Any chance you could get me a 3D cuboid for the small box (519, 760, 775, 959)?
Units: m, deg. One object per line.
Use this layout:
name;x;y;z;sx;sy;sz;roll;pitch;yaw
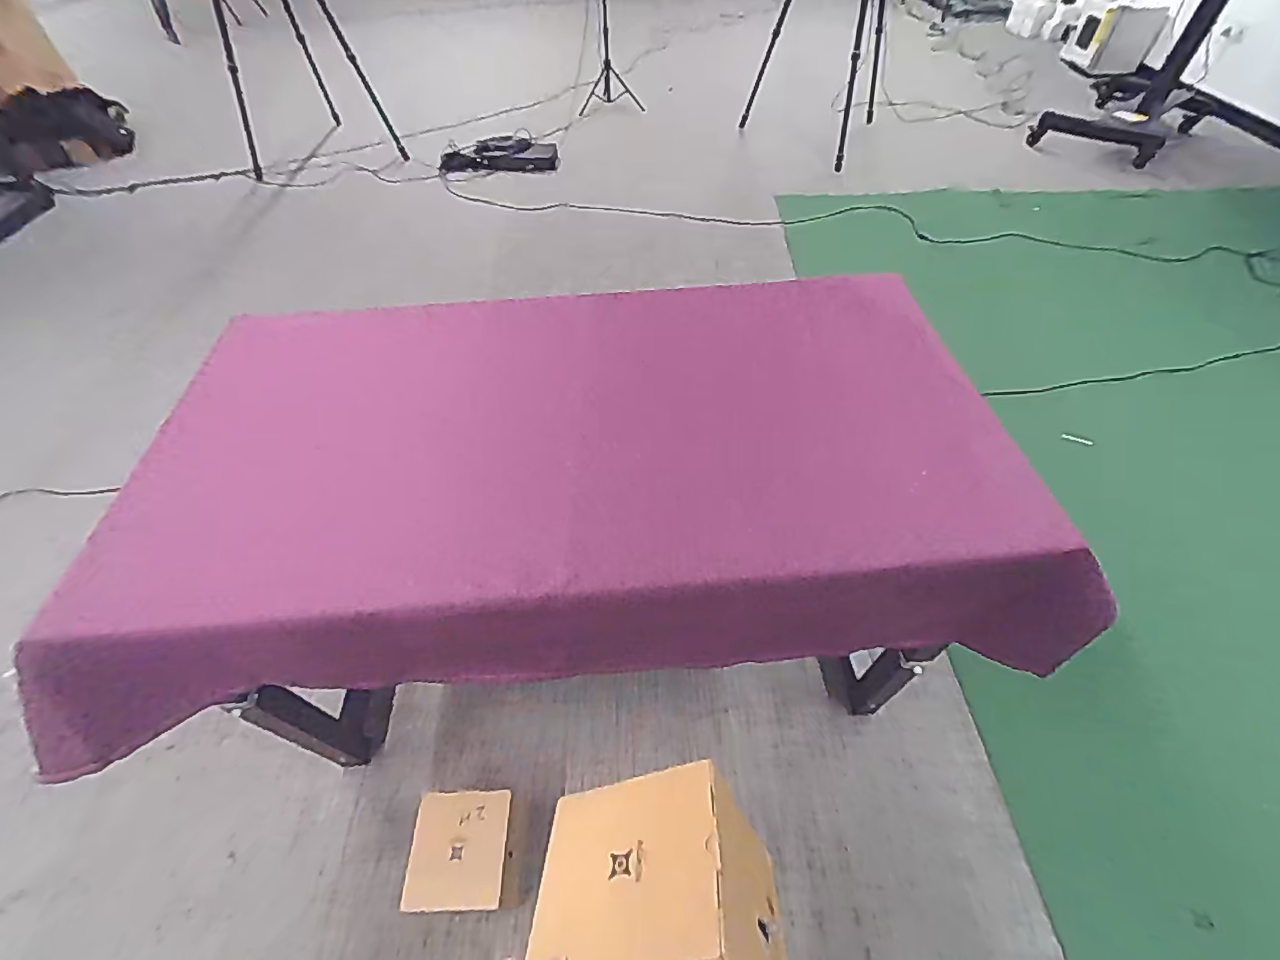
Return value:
small box;0.016;0.413;0.516;0.179;0.176;0.168;-22;20;13
